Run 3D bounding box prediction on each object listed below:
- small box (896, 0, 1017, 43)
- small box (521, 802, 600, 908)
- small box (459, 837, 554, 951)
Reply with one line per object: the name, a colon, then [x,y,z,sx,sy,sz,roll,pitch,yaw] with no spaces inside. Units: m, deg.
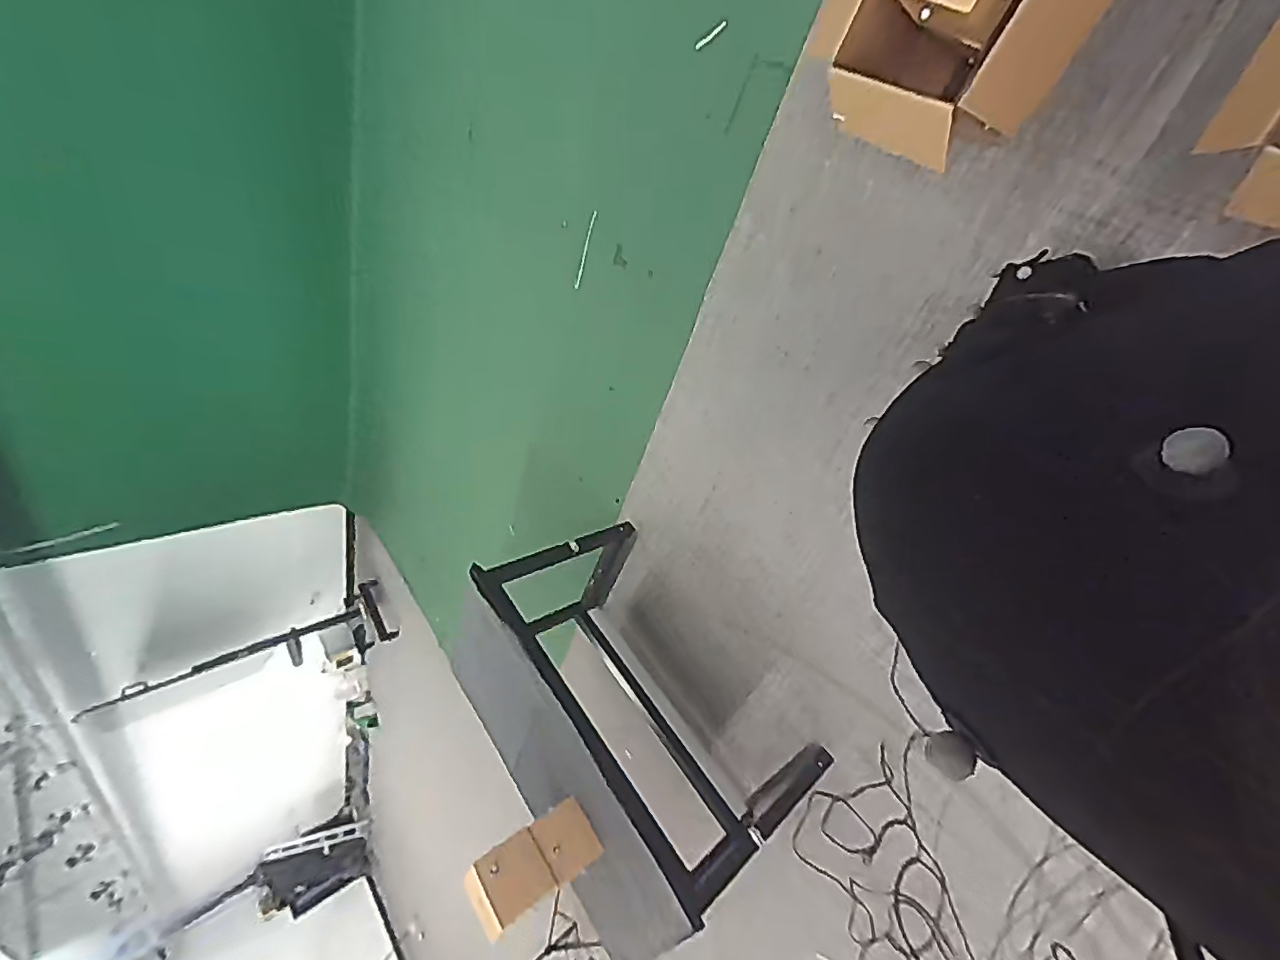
small box: [0.587,-0.916,0.959,0.179,0.176,0.168,47,130,26]
small box: [-0.245,1.092,1.583,0.179,0.176,0.168,49,131,27]
small box: [-0.364,1.114,1.471,0.179,0.176,0.168,48,131,27]
